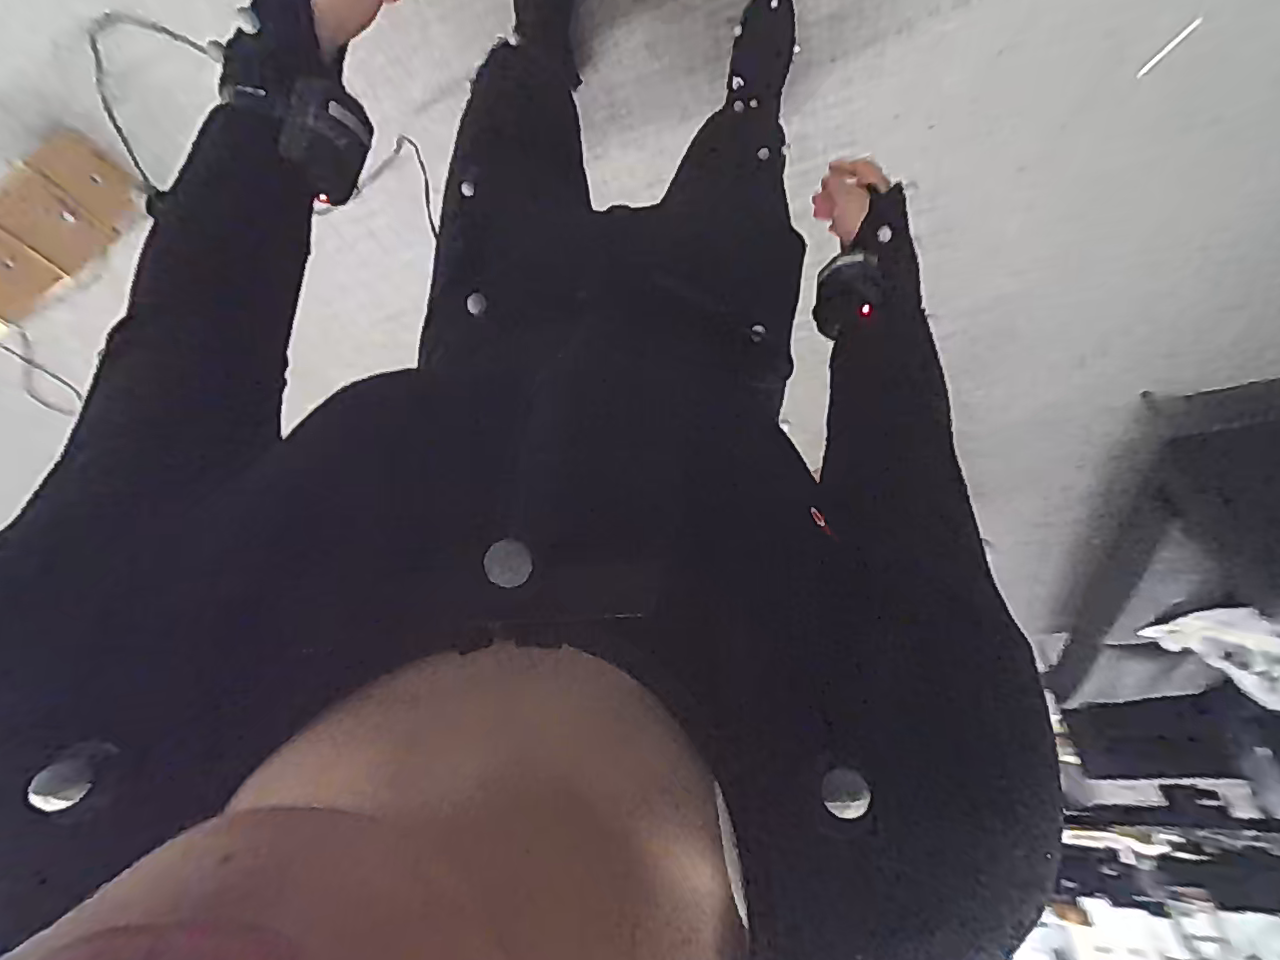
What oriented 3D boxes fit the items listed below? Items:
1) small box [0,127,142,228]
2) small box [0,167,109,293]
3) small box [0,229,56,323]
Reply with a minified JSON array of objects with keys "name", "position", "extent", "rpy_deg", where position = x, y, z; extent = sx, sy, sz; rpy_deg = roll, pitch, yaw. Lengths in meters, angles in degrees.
[{"name":"small box","position":[-1.281,-0.645,1.210],"extent":[0.179,0.176,0.168],"rpy_deg":[-16,138,25]},{"name":"small box","position":[-1.278,-0.506,1.123],"extent":[0.179,0.176,0.168],"rpy_deg":[-15,140,21]},{"name":"small box","position":[-1.283,-0.381,1.019],"extent":[0.179,0.176,0.168],"rpy_deg":[-16,139,22]}]
